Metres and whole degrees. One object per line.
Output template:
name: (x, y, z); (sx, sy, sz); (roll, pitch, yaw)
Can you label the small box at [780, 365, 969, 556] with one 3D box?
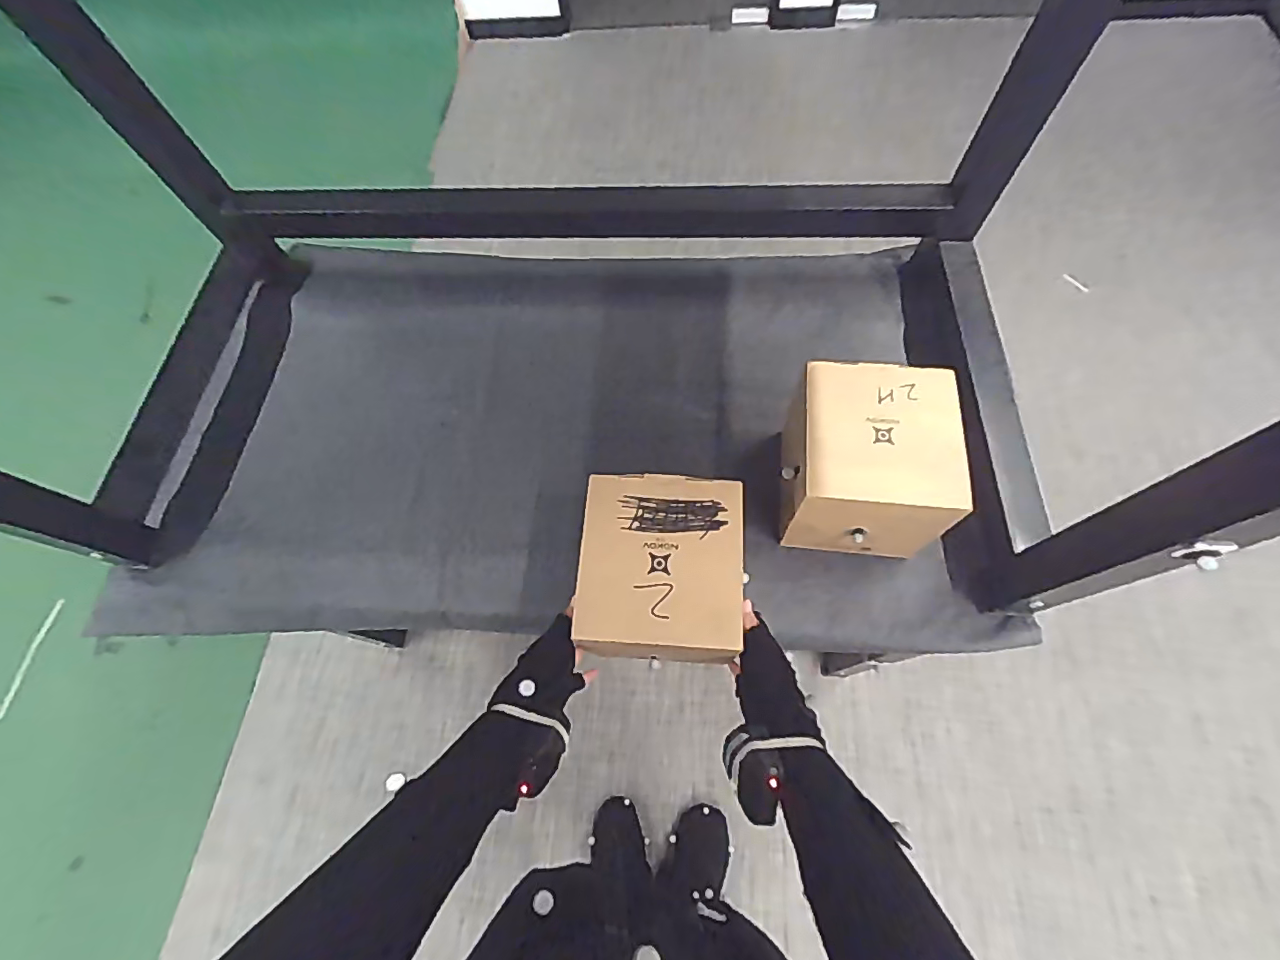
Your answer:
small box: (0.269, -0.016, 0.660); (0.168, 0.176, 0.179); (5, 66, 6)
